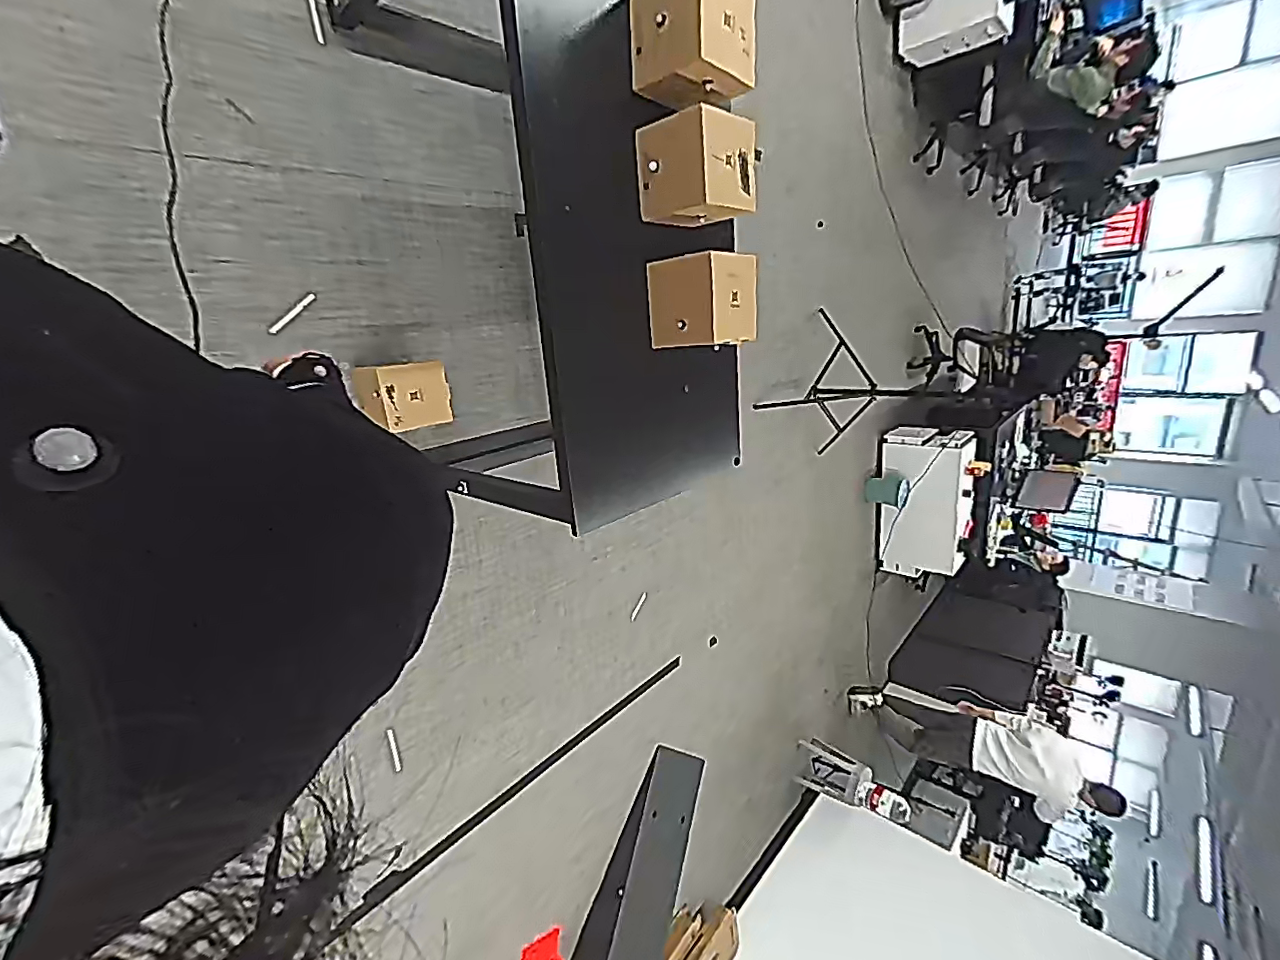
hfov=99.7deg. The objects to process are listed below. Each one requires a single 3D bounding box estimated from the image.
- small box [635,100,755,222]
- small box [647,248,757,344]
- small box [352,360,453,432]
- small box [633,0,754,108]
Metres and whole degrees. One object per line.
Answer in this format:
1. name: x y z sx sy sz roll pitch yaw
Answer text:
1. small box: 0.112 -0.621 1.078 0.179 0.176 0.168 -21 113 -42
2. small box: 0.131 -0.383 1.148 0.168 0.176 0.179 -21 111 -45
3. small box: -0.628 -0.227 1.432 0.179 0.176 0.168 -22 112 -44
4. small box: 0.098 -0.838 1.023 0.179 0.176 0.168 -16 110 -45
